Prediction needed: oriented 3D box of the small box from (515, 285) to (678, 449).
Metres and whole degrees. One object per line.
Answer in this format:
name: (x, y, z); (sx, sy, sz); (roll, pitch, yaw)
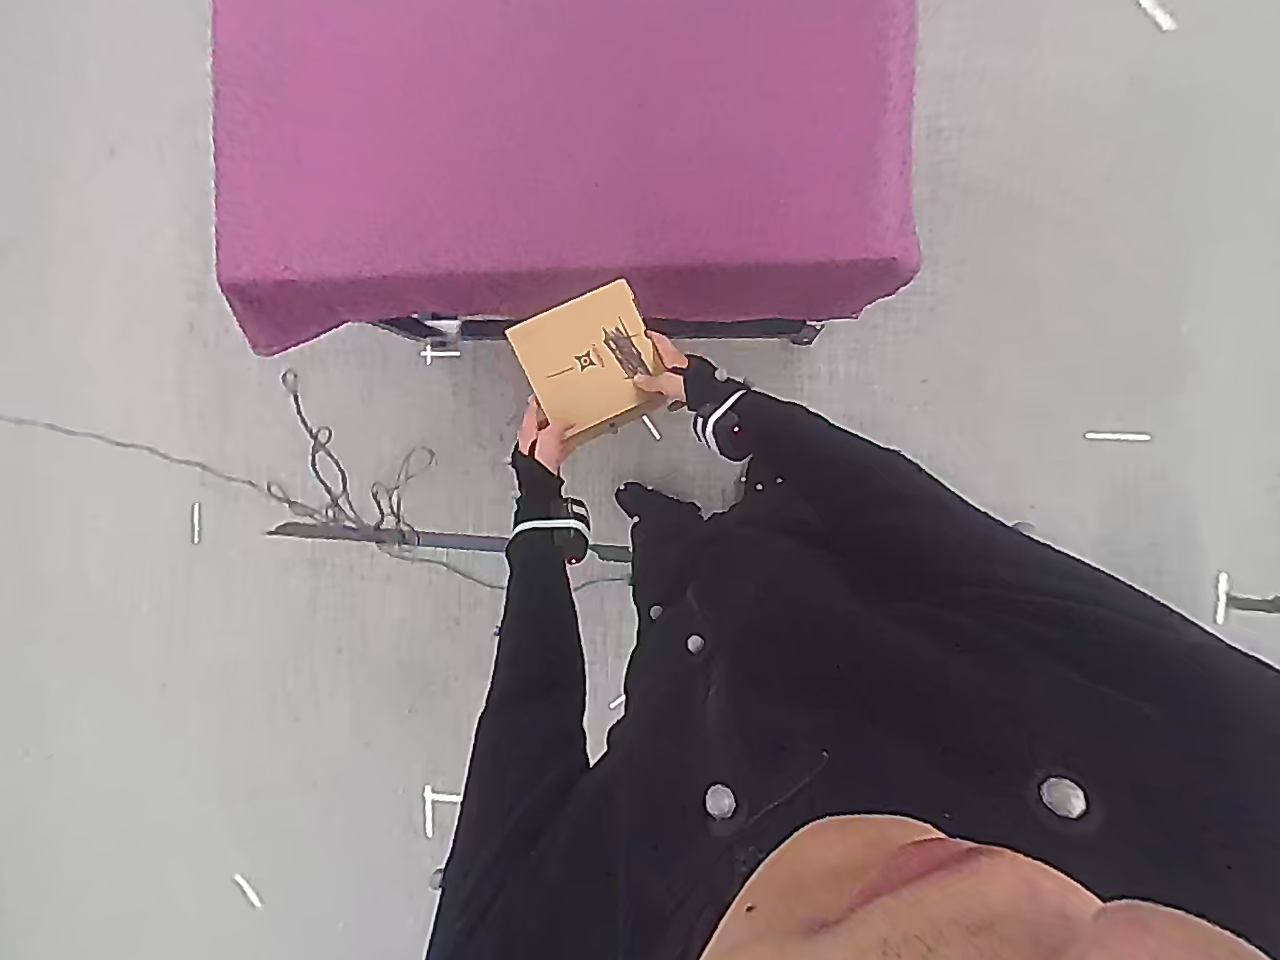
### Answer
small box: (-0.064, -0.156, 0.802); (0.179, 0.176, 0.168); (-24, 90, -4)
